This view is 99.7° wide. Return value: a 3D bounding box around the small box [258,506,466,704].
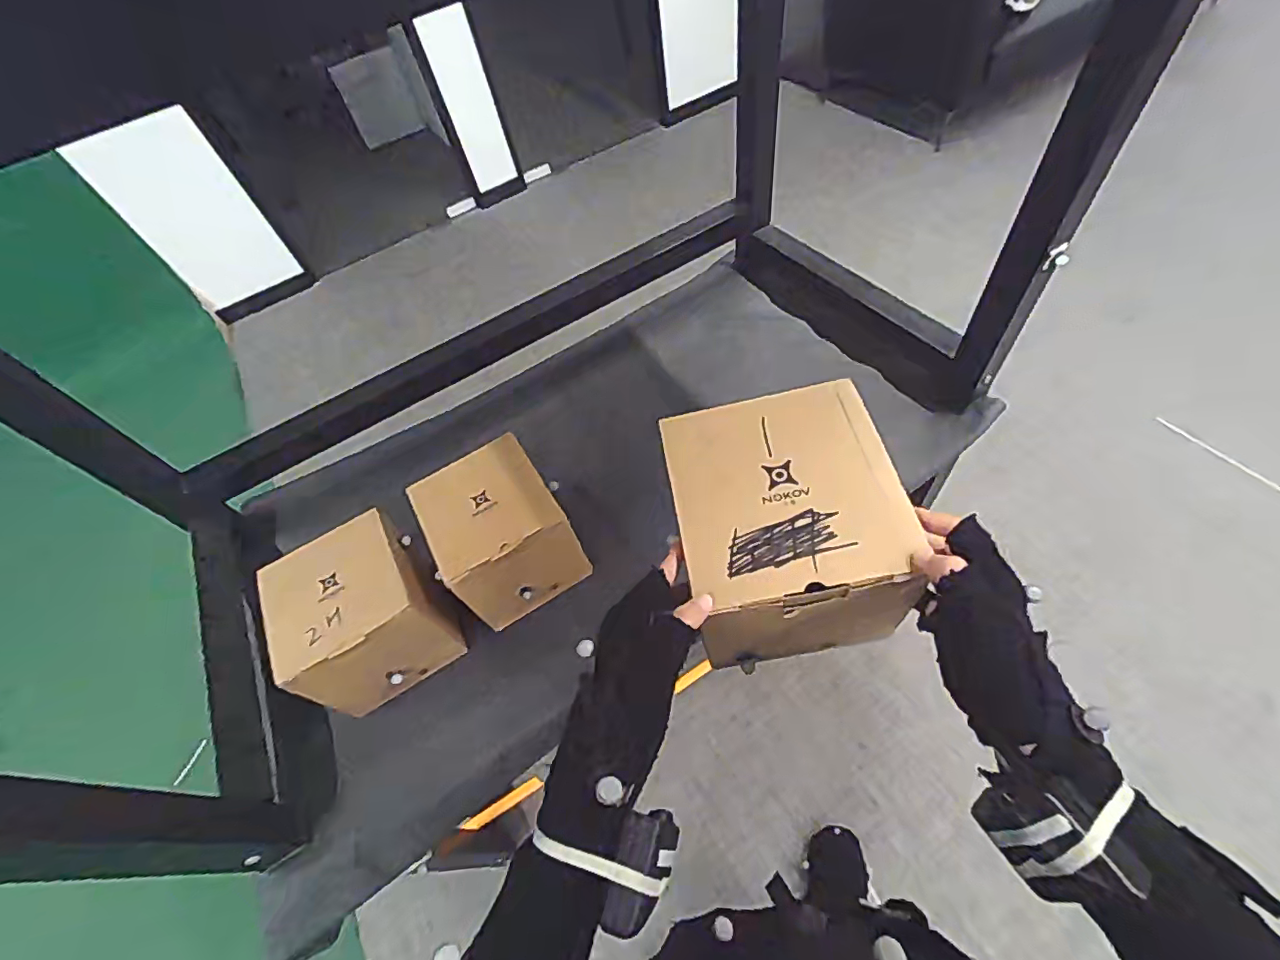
[{"bbox_3d":[-0.369,0.174,0.738,0.168,0.176,0.179,-34,60,-14],"label":"small box"}]
